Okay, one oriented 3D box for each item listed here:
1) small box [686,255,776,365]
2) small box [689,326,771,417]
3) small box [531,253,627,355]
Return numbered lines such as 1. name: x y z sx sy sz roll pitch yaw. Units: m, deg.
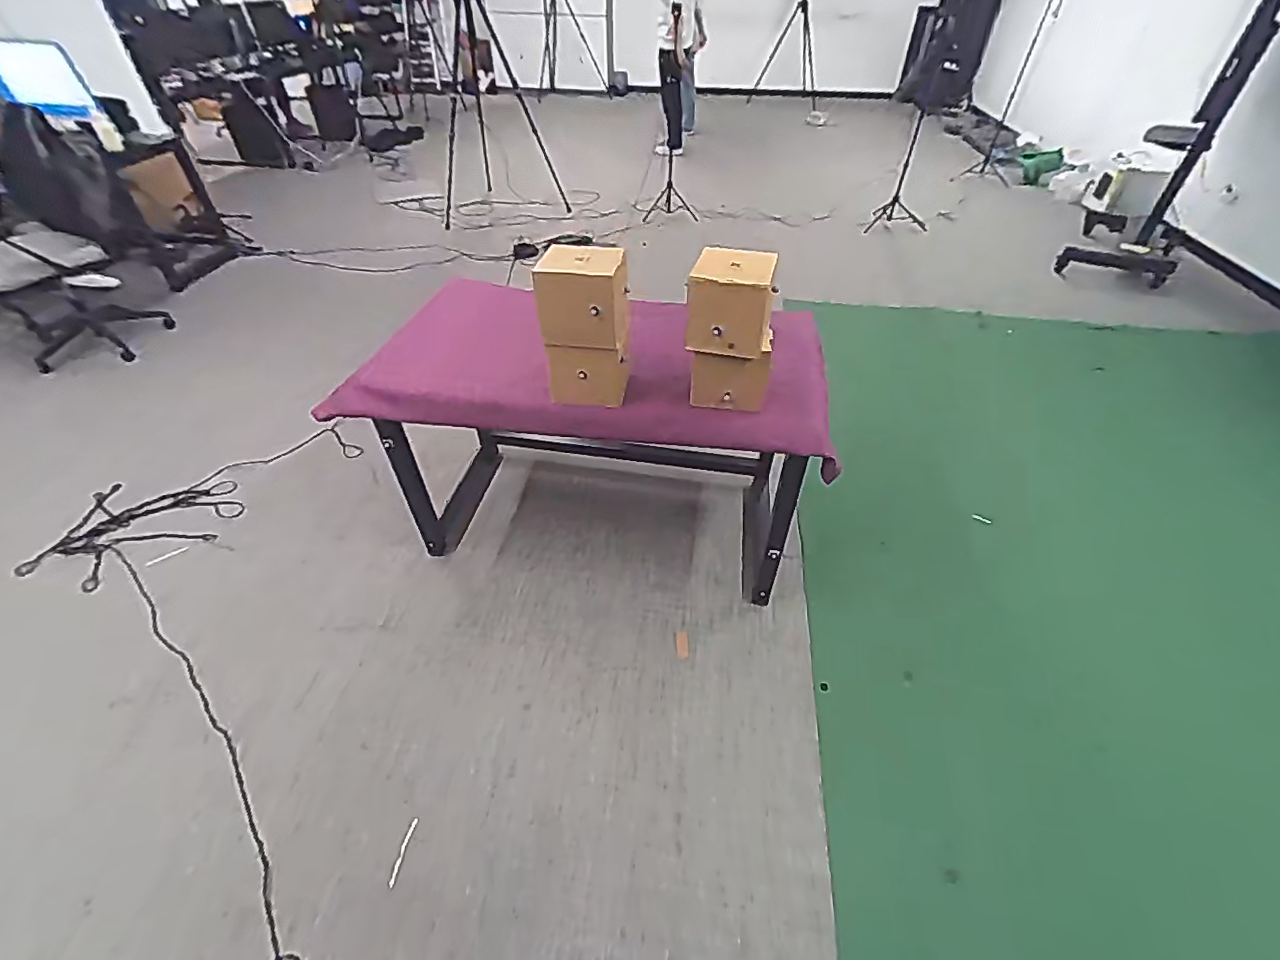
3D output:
1. small box: 0.200 -0.379 1.202 0.168 0.176 0.179 10 44 13
2. small box: 0.218 -0.269 1.324 0.179 0.176 0.168 5 41 6
3. small box: -0.127 -0.395 1.221 0.179 0.176 0.168 5 41 8
